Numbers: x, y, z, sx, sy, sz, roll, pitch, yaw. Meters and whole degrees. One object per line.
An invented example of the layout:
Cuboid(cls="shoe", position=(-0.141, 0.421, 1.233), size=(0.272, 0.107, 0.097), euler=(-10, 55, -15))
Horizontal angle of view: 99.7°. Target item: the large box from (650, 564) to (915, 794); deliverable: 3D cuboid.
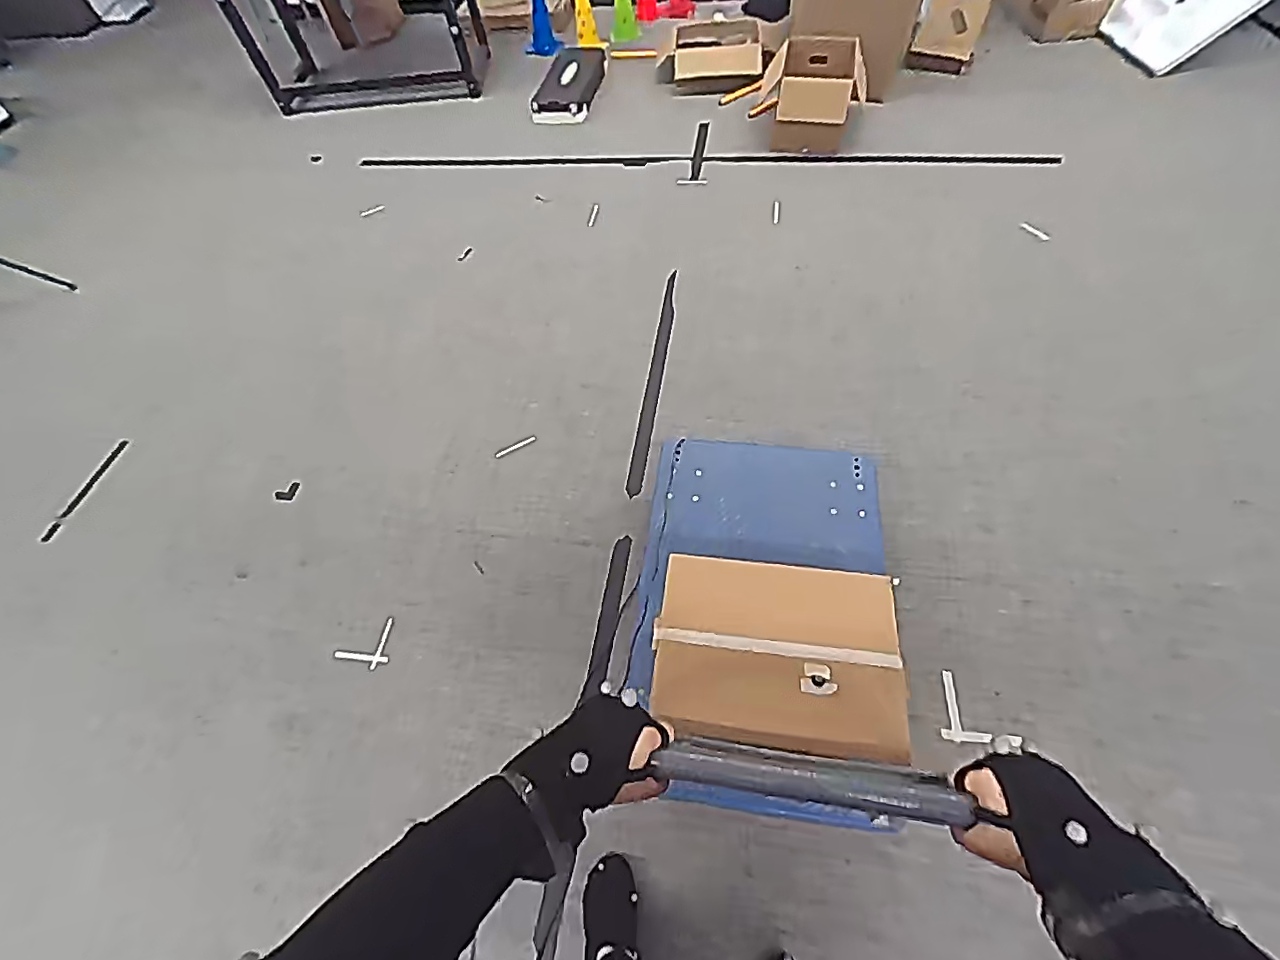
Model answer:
Cuboid(cls="large box", position=(0.237, 0.380, 1.021), size=(0.408, 0.320, 0.320), euler=(5, 58, 8))
